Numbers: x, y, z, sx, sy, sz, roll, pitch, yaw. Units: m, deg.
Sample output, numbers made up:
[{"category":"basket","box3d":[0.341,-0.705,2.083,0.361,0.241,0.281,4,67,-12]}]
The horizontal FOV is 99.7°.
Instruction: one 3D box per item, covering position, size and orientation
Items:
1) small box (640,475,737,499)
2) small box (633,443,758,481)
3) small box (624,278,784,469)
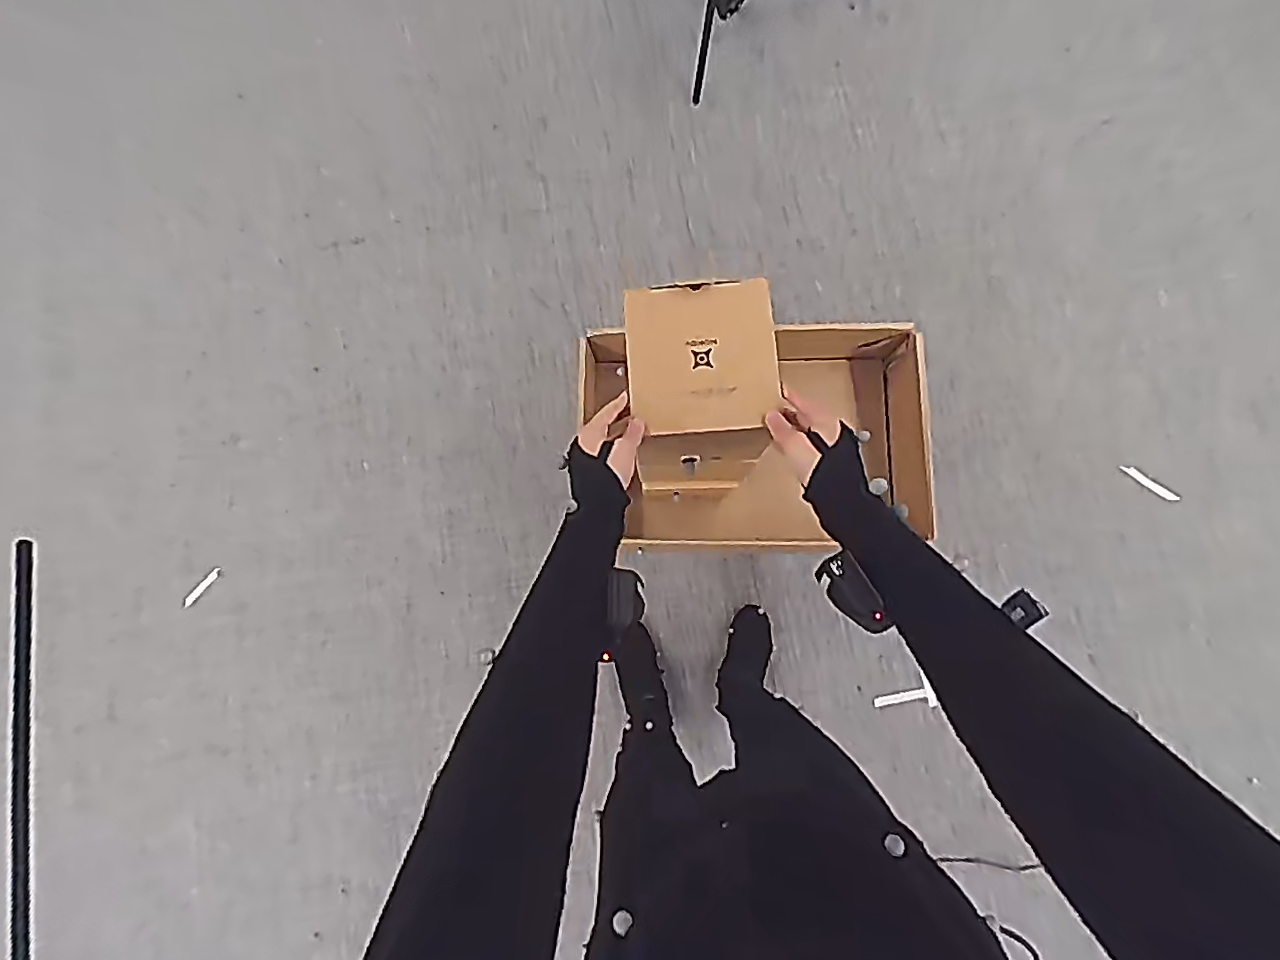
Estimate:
[{"category":"small box","box3d":[0.085,-0.057,0.999,0.168,0.176,0.179,-2,81,2]},{"category":"small box","box3d":[0.081,-0.091,0.838,0.179,0.176,0.168,0,81,2]},{"category":"small box","box3d":[0.069,-0.120,0.663,0.168,0.176,0.179,-4,78,3]}]
